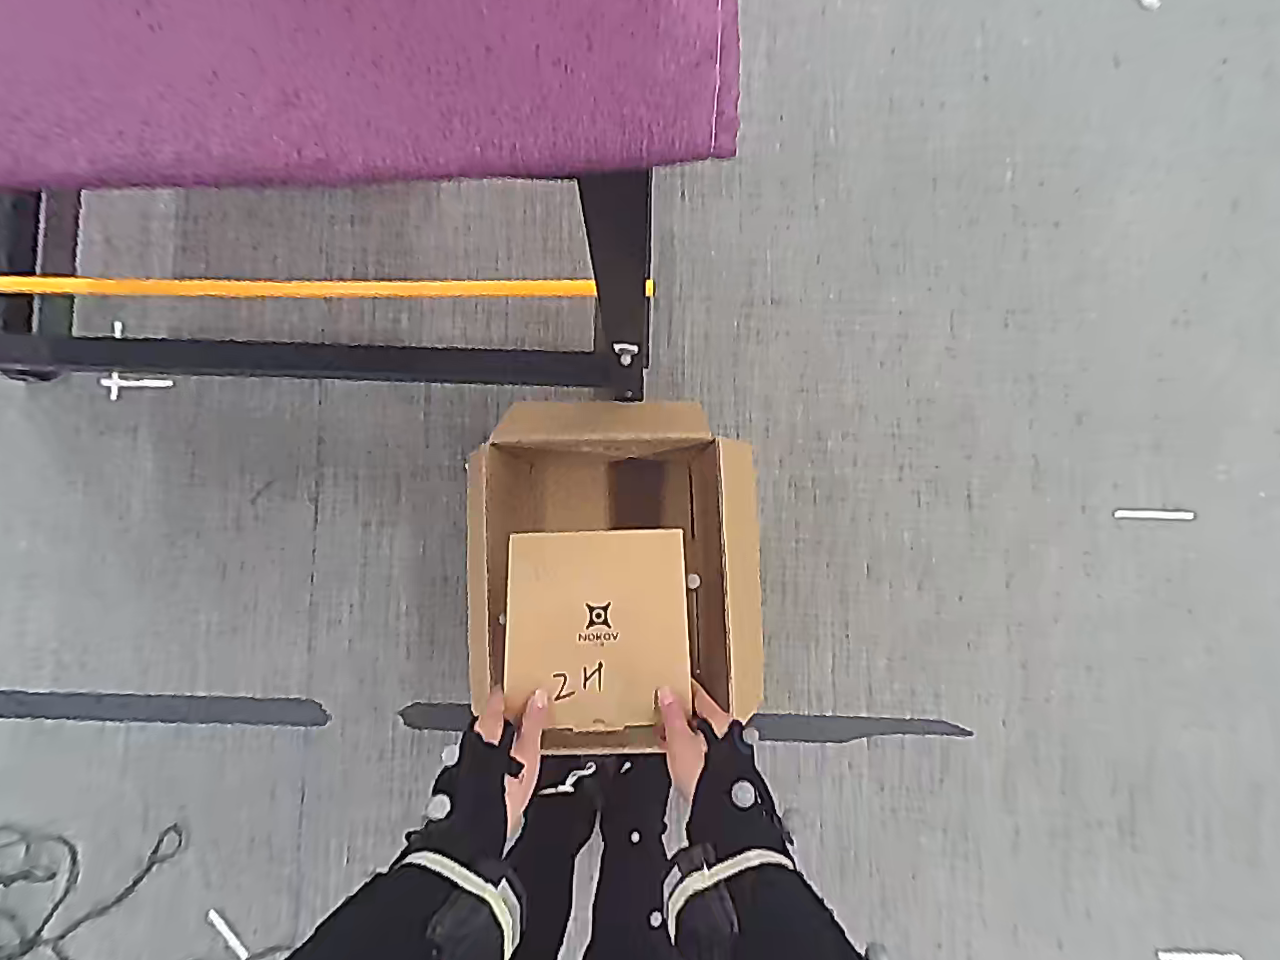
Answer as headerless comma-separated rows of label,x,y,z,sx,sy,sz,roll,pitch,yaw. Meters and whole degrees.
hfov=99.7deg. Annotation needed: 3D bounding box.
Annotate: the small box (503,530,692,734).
small box,-0.039,0.155,0.562,0.168,0.176,0.179,-2,74,-1
